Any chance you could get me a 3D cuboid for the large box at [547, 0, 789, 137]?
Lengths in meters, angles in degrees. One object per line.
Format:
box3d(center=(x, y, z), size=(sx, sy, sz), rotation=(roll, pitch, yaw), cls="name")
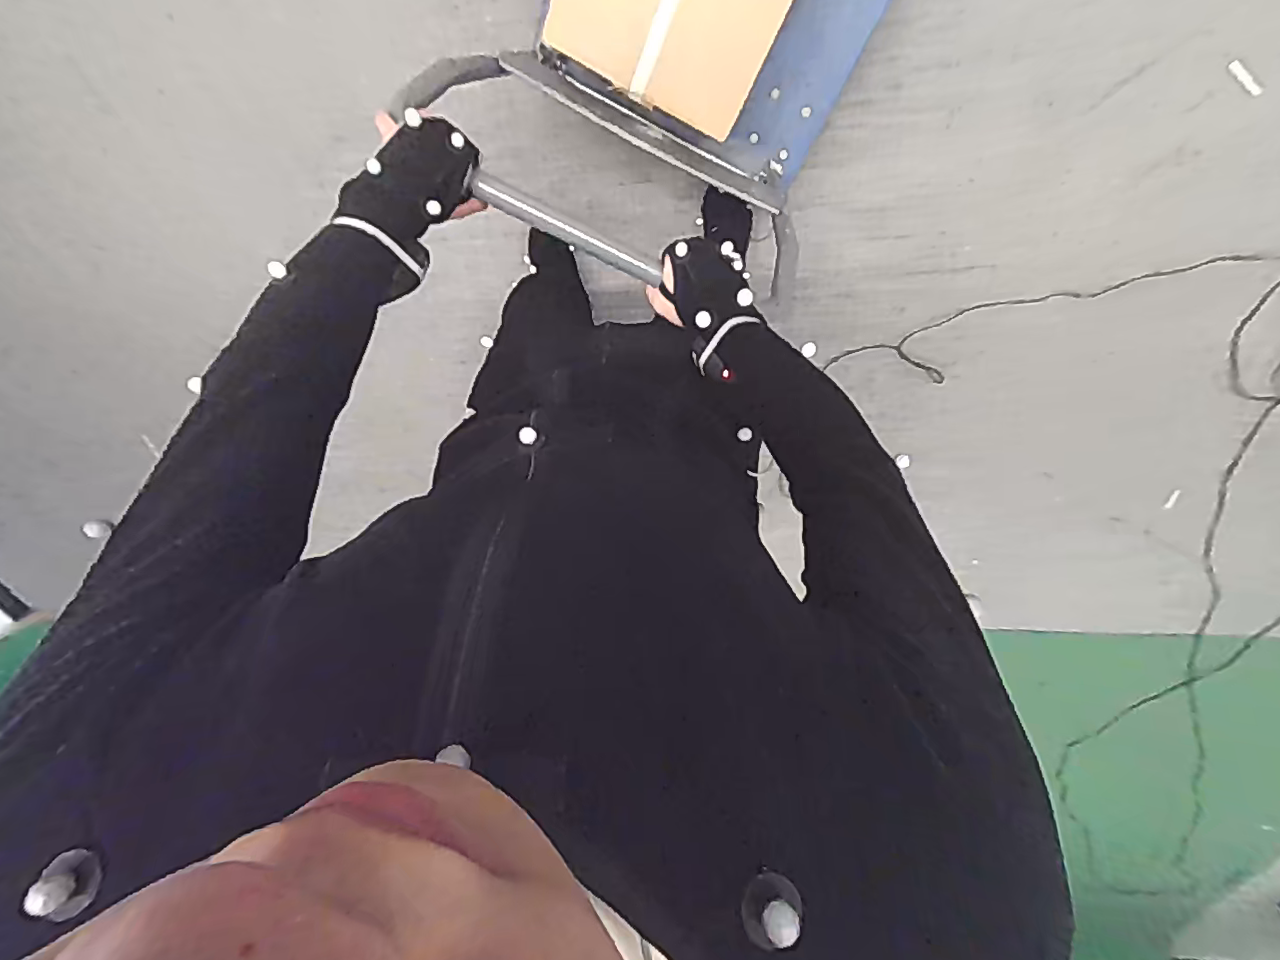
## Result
box3d(center=(0.093, -0.829, 0.848), size=(0.320, 0.320, 0.408), rotation=(24, 125, -9), cls="large box")
